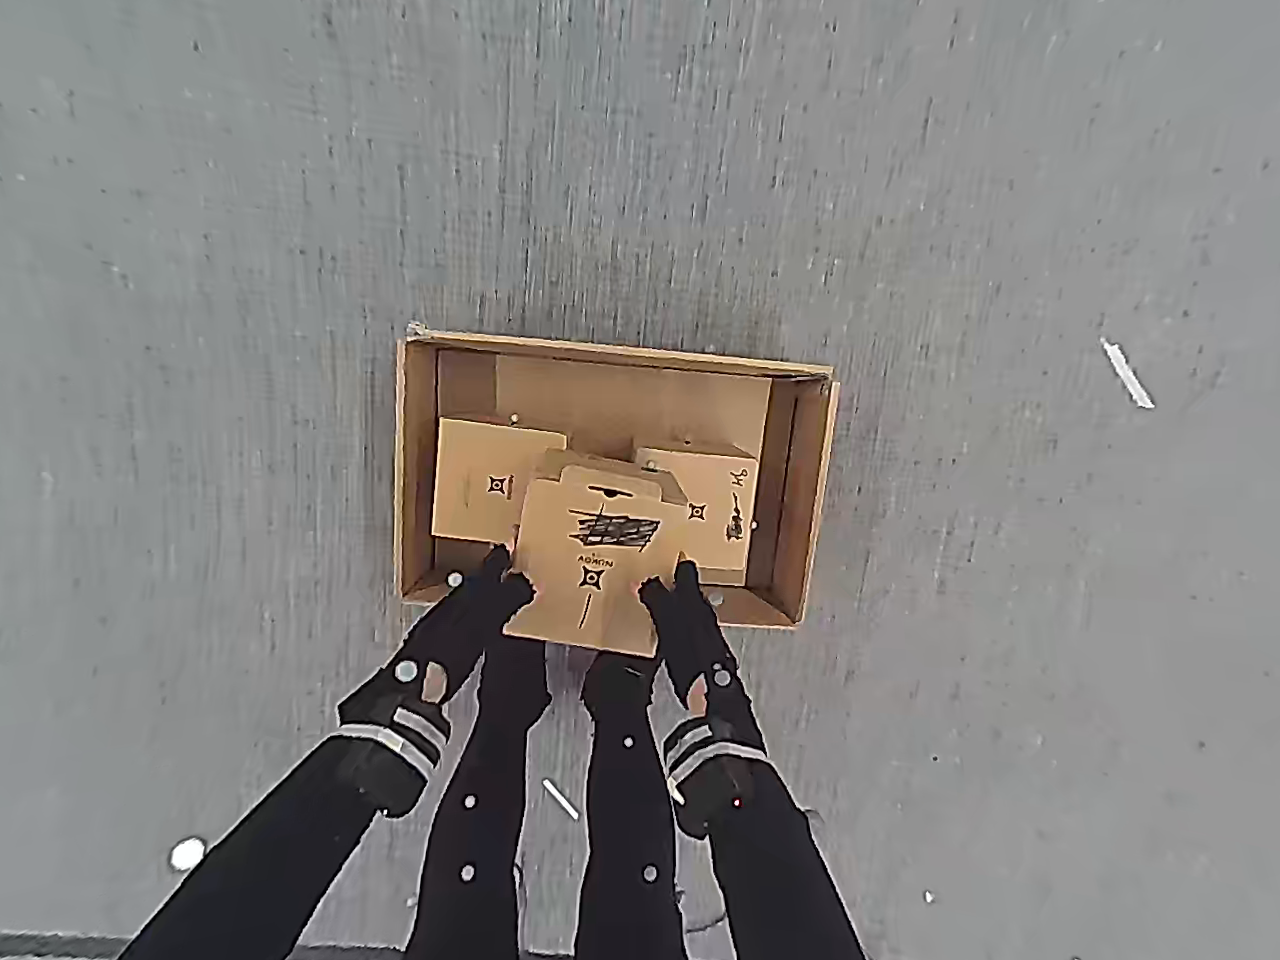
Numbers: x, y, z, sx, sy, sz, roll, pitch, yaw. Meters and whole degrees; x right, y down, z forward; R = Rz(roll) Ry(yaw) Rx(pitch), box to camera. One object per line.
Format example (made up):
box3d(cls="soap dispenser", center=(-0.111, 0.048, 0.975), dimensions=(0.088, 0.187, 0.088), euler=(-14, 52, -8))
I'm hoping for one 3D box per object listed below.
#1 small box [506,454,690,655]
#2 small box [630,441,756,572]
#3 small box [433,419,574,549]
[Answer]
box3d(cls="small box", center=(-0.049, 0.075, 0.638), dimensions=(0.168, 0.176, 0.179), euler=(11, 102, -5))
box3d(cls="small box", center=(0.068, 0.033, 0.844), dimensions=(0.179, 0.176, 0.168), euler=(5, 100, -2))
box3d(cls="small box", center=(-0.197, 0.000, 0.824), dimensions=(0.179, 0.176, 0.168), euler=(7, 98, -5))
